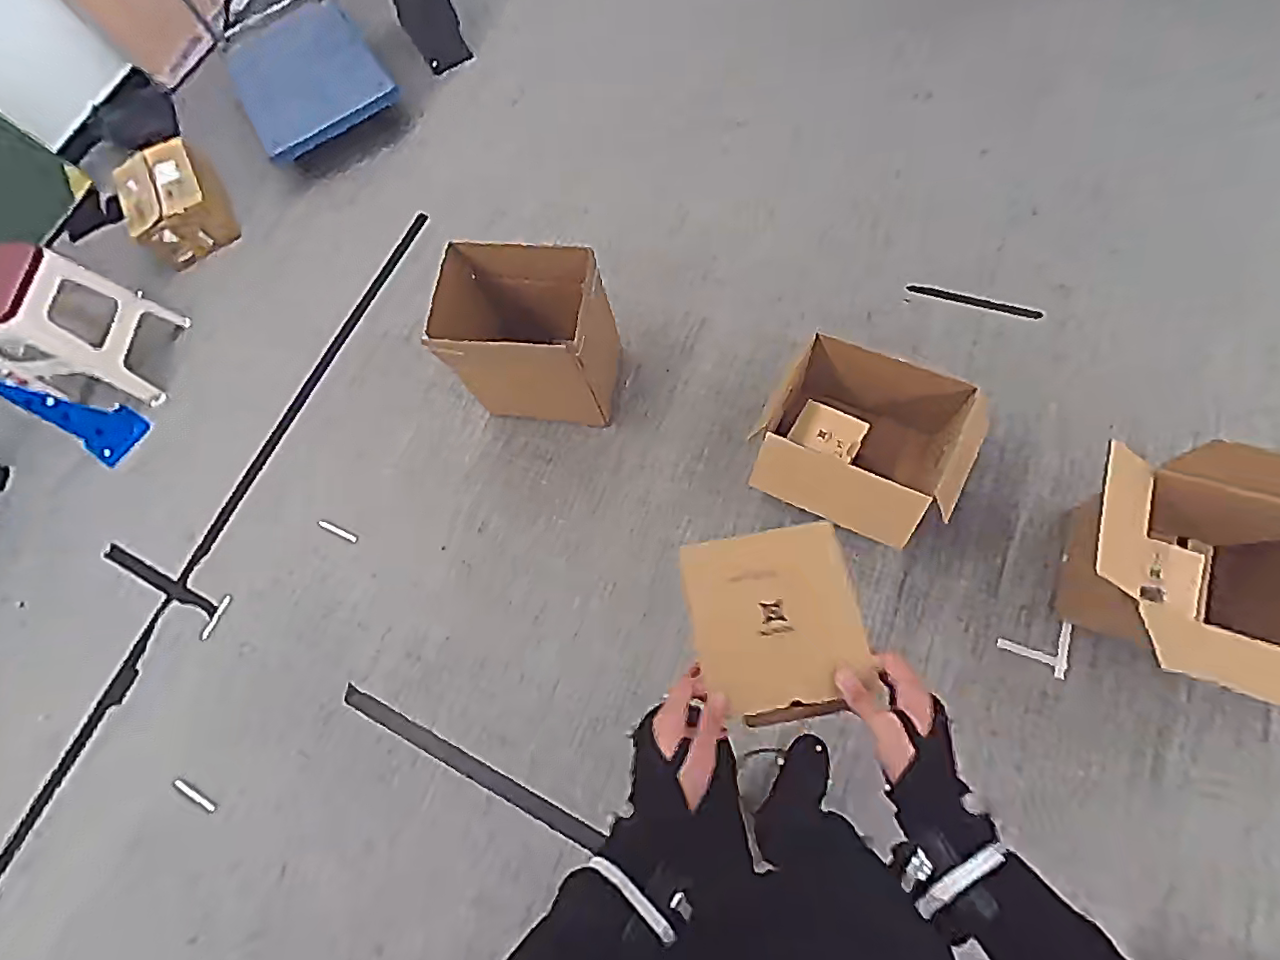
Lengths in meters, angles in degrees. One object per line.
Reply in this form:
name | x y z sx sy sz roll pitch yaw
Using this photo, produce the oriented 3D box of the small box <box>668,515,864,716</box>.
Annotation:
small box | 0.130 0.152 0.624 0.168 0.176 0.179 -12 75 1
